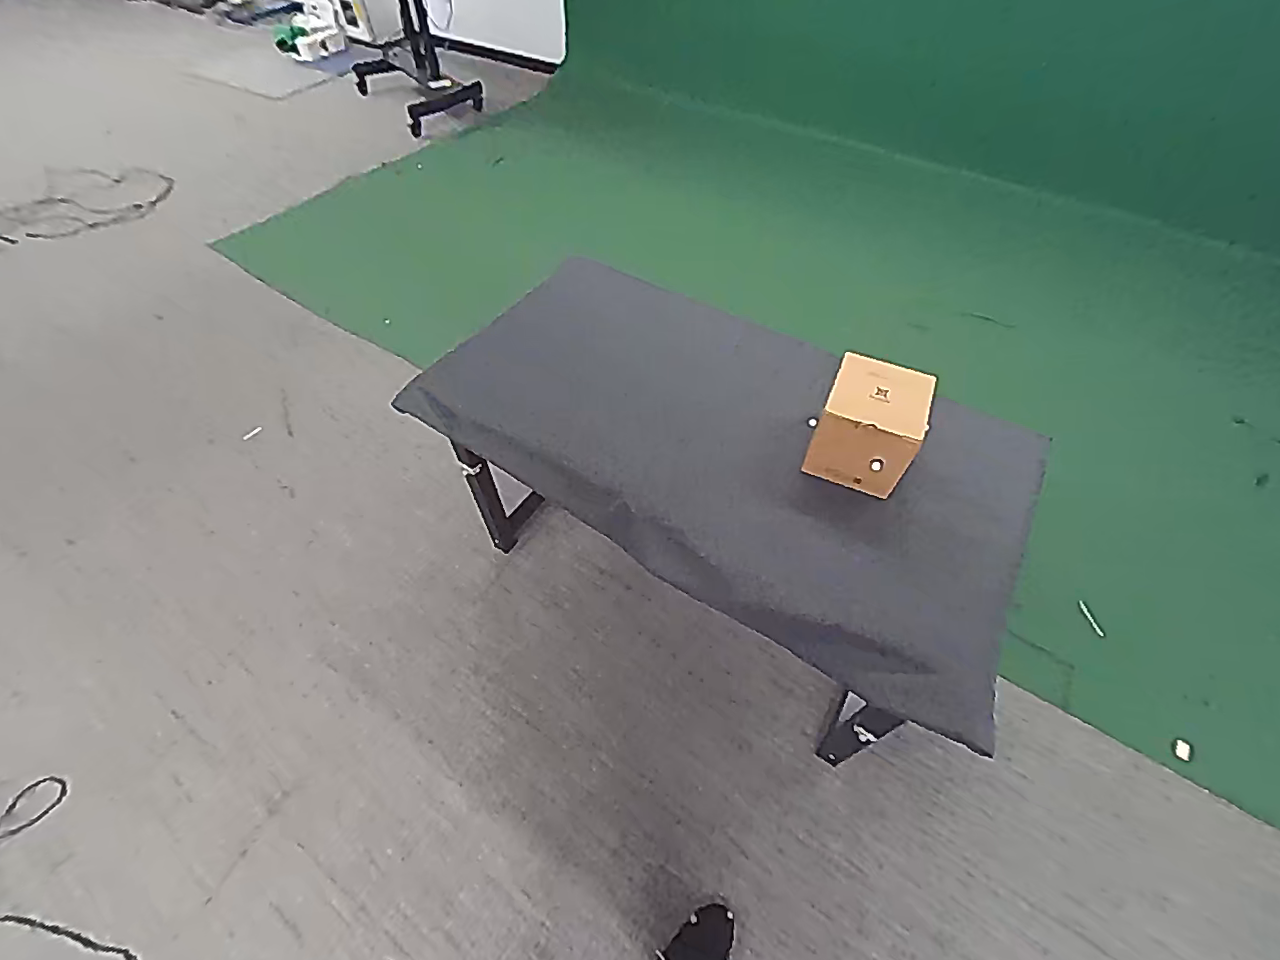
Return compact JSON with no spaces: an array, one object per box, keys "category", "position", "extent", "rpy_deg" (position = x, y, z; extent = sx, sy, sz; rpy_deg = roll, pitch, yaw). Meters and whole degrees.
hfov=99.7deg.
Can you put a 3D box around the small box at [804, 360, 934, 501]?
[{"category":"small box","position":[0.423,-0.089,1.018],"extent":[0.168,0.176,0.179],"rpy_deg":[22,54,13]}]
